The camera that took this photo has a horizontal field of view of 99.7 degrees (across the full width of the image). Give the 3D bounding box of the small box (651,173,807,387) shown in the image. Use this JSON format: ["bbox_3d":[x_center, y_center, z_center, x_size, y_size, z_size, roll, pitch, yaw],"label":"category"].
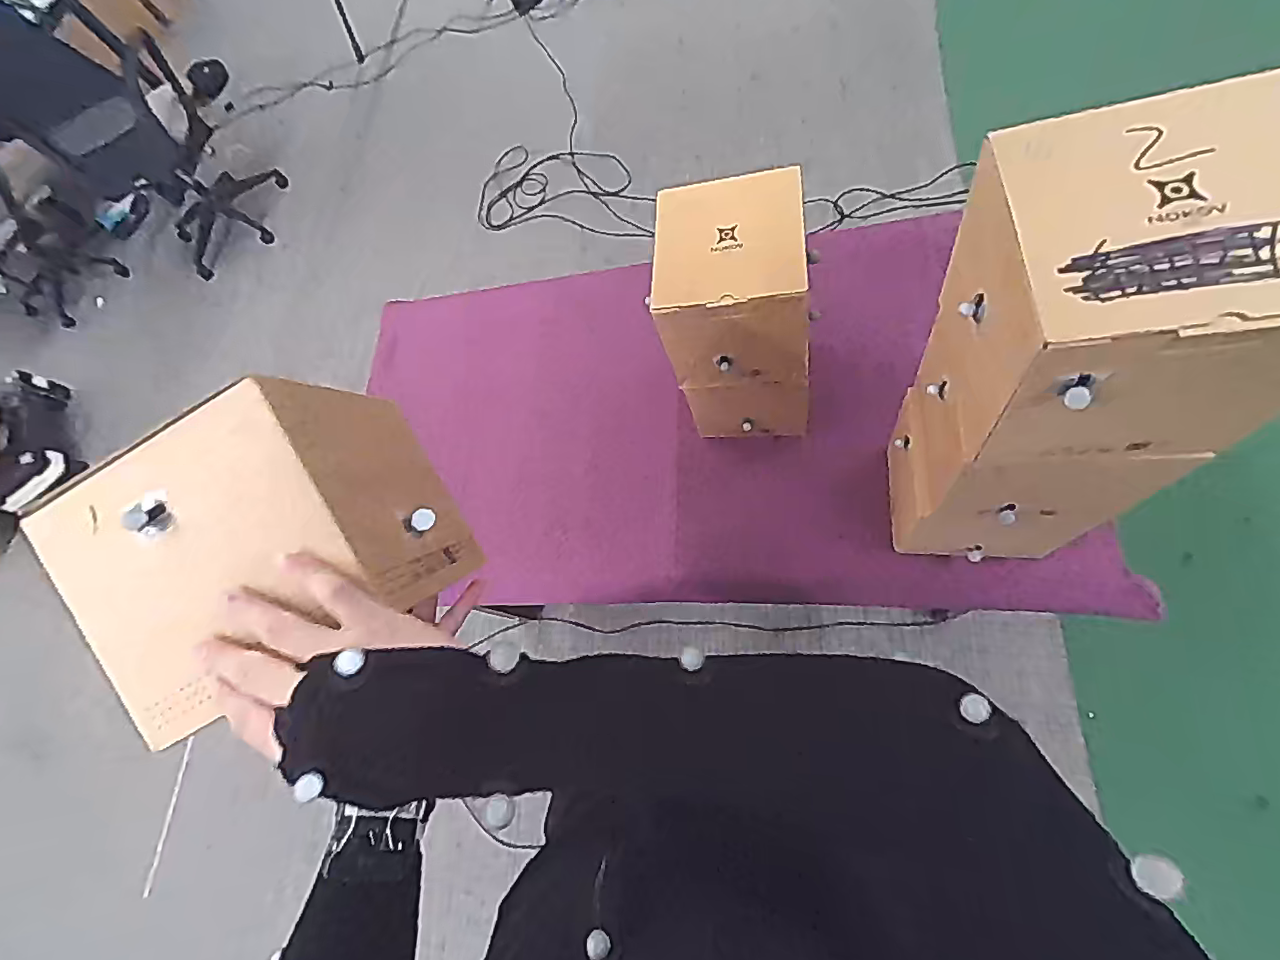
[{"bbox_3d":[0.115,-0.235,0.669,0.168,0.176,0.179,-2,70,14],"label":"small box"}]

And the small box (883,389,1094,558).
[{"bbox_3d":[0.413,-0.003,0.676,0.179,0.176,0.168,0,69,17],"label":"small box"}]

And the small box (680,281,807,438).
[{"bbox_3d":[0.162,-0.178,0.814,0.168,0.176,0.179,1,70,16],"label":"small box"}]

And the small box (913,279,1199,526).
[{"bbox_3d":[0.374,-0.065,0.530,0.168,0.176,0.179,0,69,17],"label":"small box"}]

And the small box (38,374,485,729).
[{"bbox_3d":[-0.252,0.047,0.401,0.179,0.168,0.176,-29,91,6],"label":"small box"}]
